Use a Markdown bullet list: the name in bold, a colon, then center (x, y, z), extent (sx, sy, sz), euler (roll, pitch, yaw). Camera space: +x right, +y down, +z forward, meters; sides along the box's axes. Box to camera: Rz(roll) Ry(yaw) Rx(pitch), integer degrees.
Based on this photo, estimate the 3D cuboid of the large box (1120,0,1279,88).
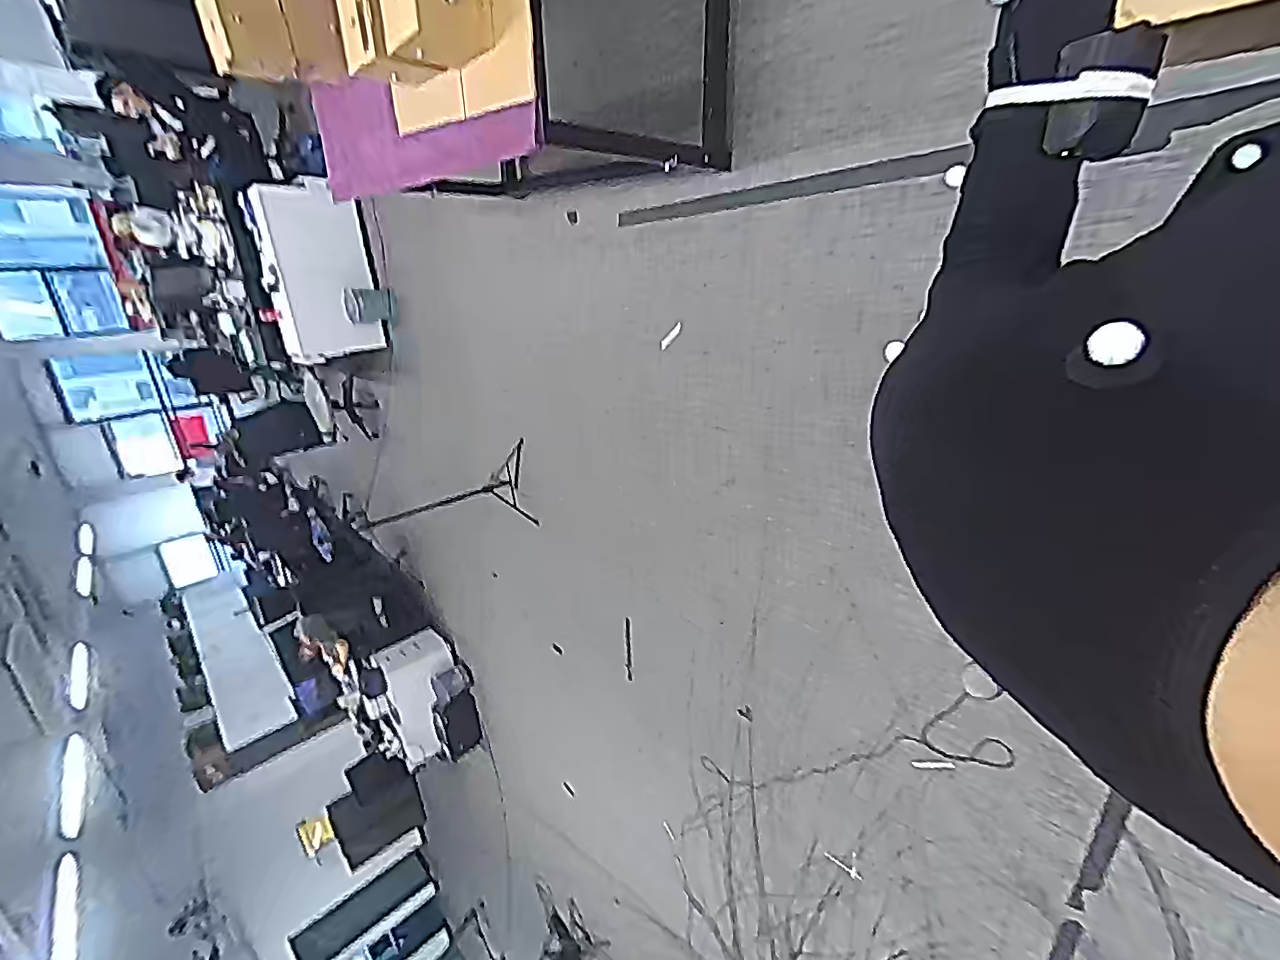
- **large box**: center (0.528, -0.422, 0.248), extent (0.408, 0.320, 0.320), euler (17, 126, 40)
